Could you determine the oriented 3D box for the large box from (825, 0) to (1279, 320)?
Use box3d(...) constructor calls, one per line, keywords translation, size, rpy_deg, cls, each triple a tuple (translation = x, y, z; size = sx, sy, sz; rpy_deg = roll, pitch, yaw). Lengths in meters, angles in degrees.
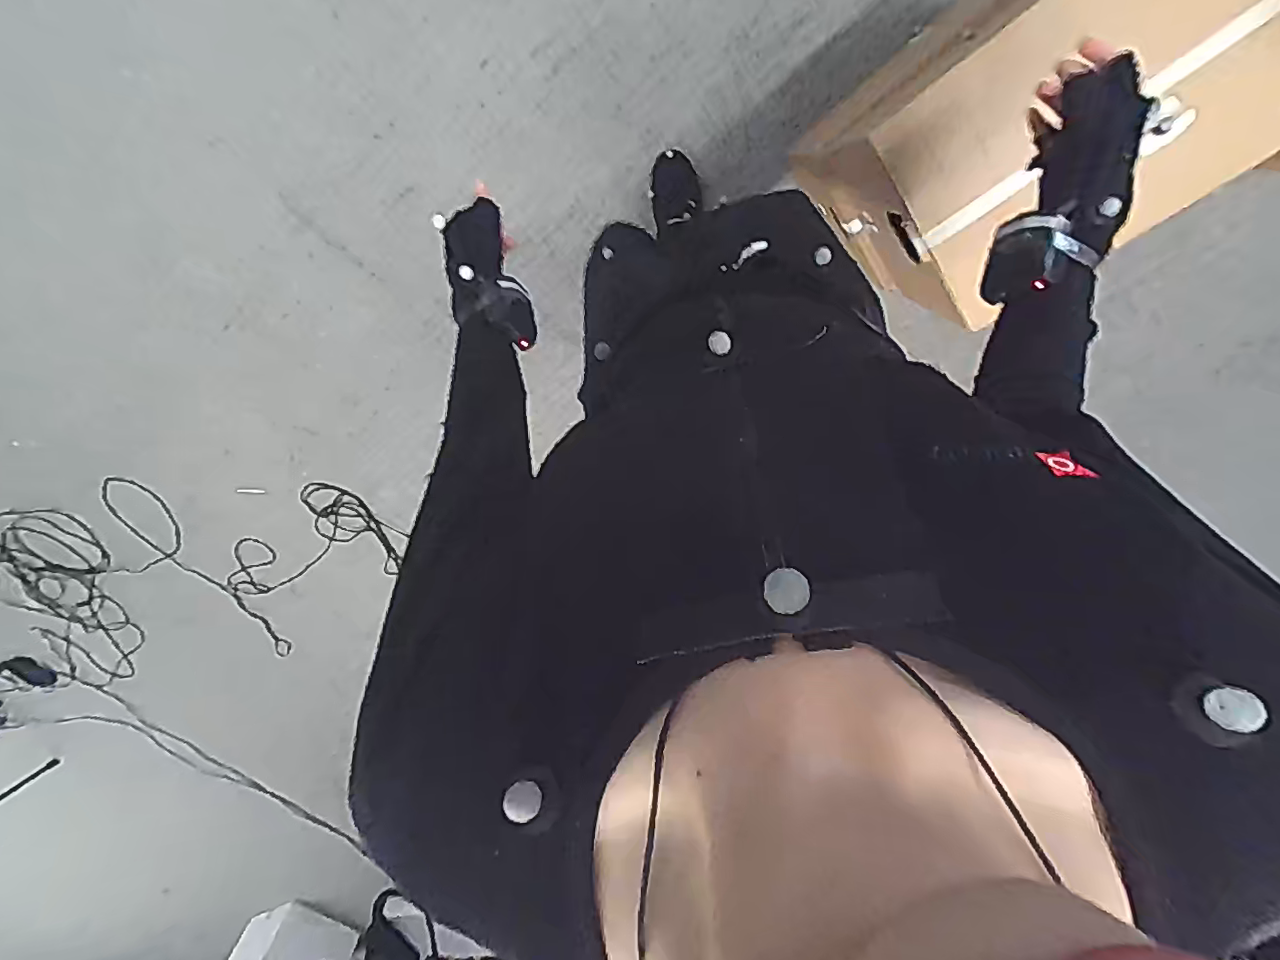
box3d(translation=(0.544, -0.499, 0.774), size=(0.408, 0.320, 0.320), rpy_deg=(-33, 109, 21), cls="large box")
